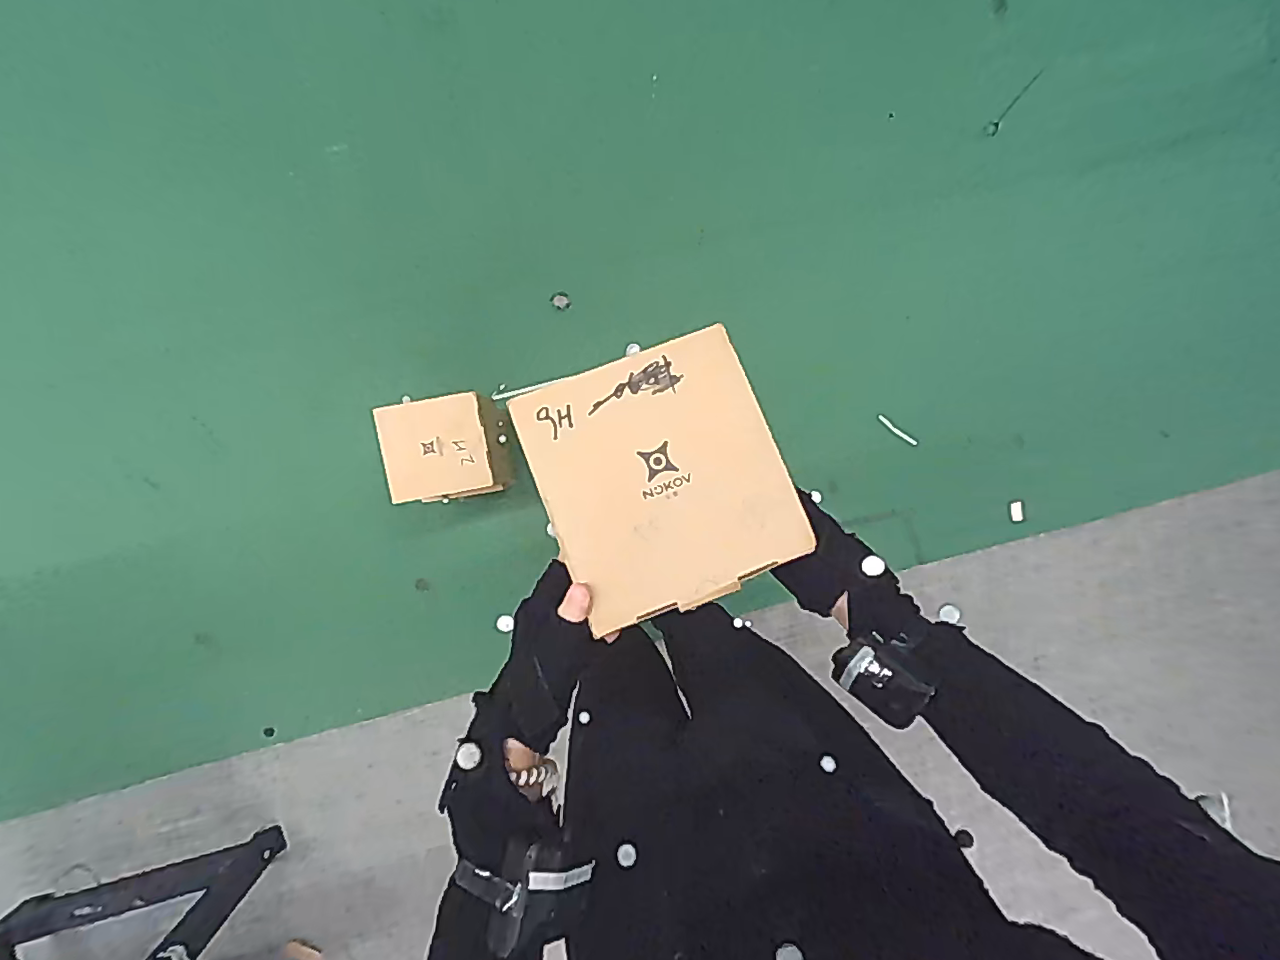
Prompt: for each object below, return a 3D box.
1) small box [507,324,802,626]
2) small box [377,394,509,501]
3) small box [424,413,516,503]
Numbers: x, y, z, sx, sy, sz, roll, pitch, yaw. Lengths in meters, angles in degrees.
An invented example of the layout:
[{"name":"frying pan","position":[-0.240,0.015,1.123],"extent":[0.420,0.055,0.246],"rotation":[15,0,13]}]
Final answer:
[{"name":"small box","position":[0.008,0.002,0.457],"extent":[0.168,0.176,0.179],"rotation":[-20,83,-5]},{"name":"small box","position":[-0.353,-0.057,1.001],"extent":[0.179,0.176,0.168],"rotation":[-10,93,-5]},{"name":"small box","position":[-0.371,-0.054,1.164],"extent":[0.168,0.176,0.179],"rotation":[-9,93,-4]}]
